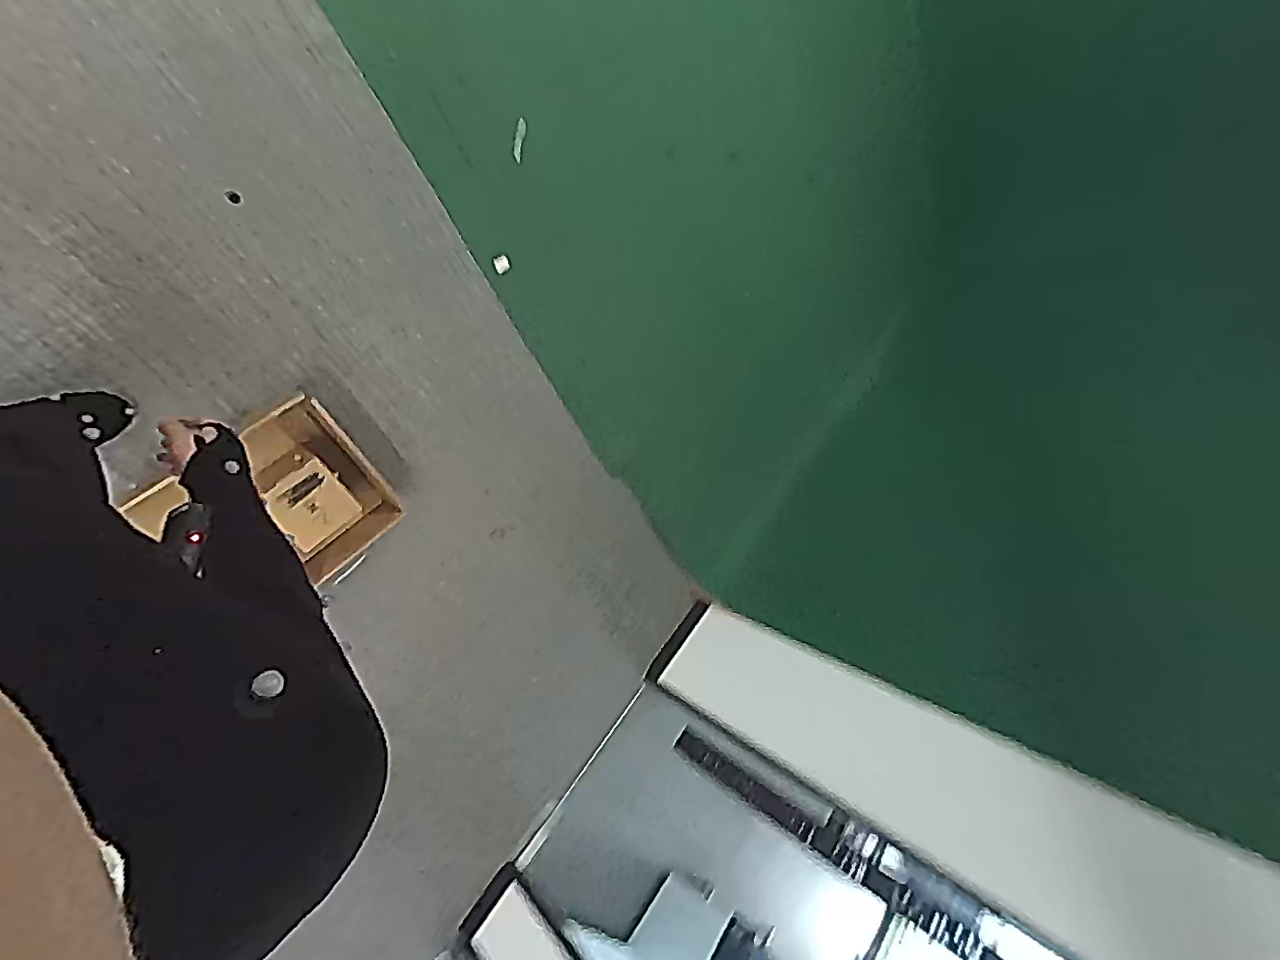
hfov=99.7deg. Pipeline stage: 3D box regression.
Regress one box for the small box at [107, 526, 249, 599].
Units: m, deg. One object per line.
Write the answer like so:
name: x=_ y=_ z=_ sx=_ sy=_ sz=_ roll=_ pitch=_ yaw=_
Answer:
small box: x=-1.028 y=0.227 z=1.208 sx=0.168 sy=0.176 sz=0.179 roll=-46 pitch=129 yaw=-27
